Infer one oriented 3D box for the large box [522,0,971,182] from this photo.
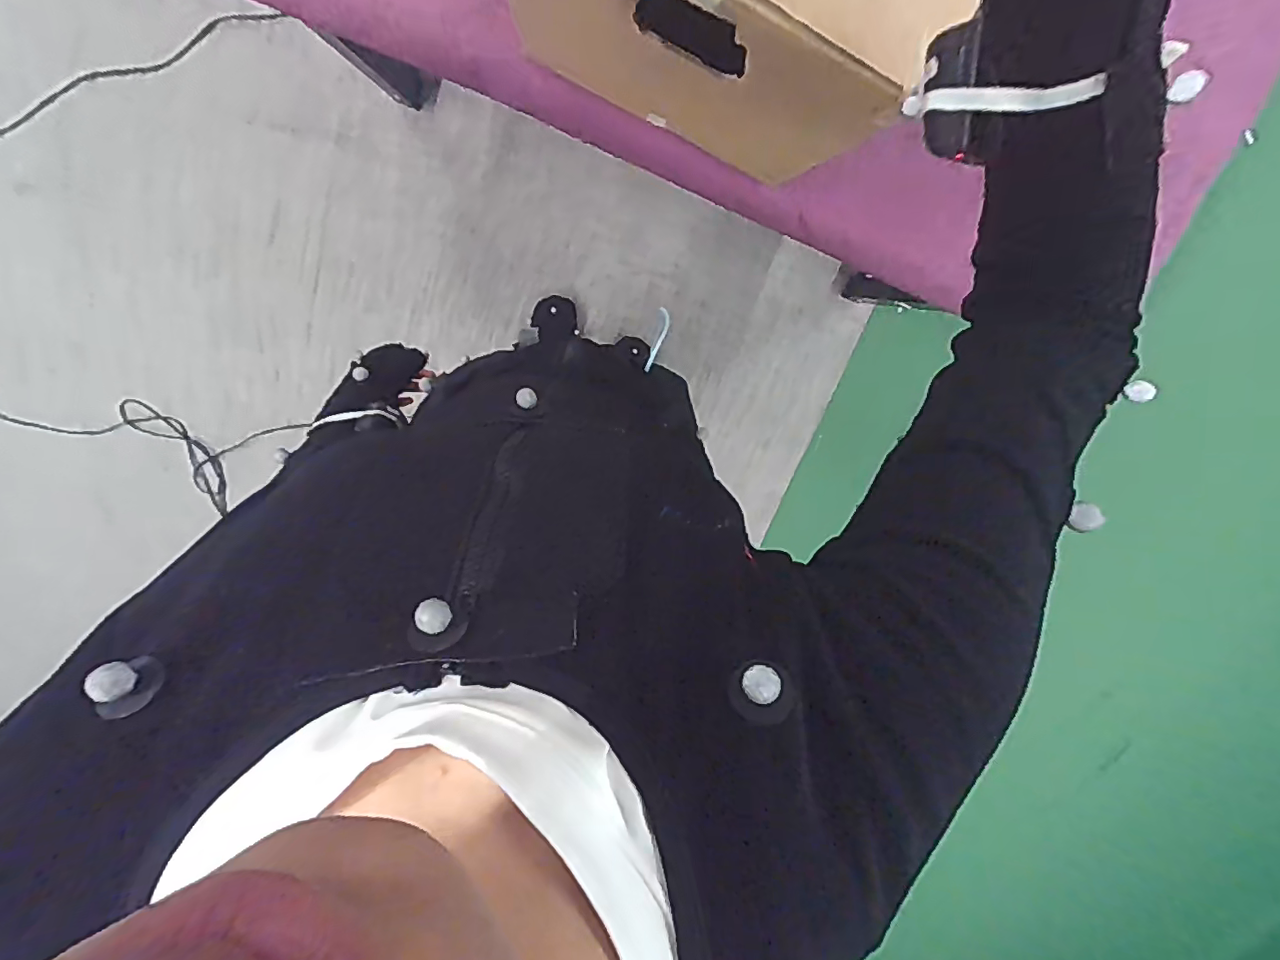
[{"bbox_3d":[0.112,-0.526,0.423,0.320,0.320,0.408,21,108,-12],"label":"large box"}]
